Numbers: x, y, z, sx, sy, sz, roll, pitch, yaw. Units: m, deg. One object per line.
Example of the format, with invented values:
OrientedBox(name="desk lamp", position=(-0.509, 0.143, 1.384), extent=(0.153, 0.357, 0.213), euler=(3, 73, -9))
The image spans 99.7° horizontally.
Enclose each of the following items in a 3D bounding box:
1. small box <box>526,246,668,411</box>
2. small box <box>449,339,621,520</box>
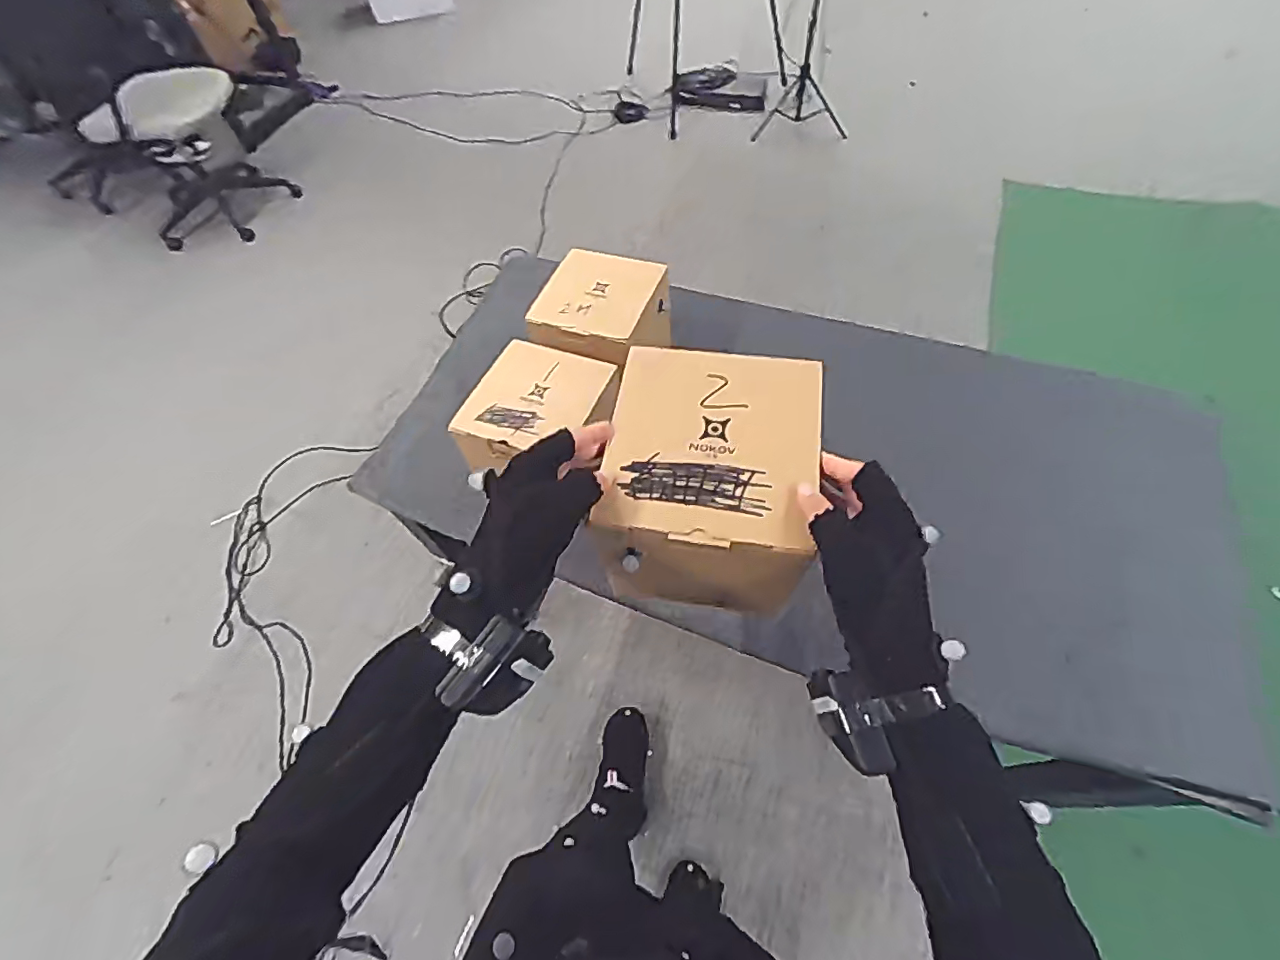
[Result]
OrientedBox(name="small box", position=(-0.059, -0.243, 0.879), extent=(0.168, 0.176, 0.179), euler=(16, 61, 14))
OrientedBox(name="small box", position=(-0.133, -0.067, 0.777), extent=(0.168, 0.176, 0.179), euler=(17, 59, 14))
